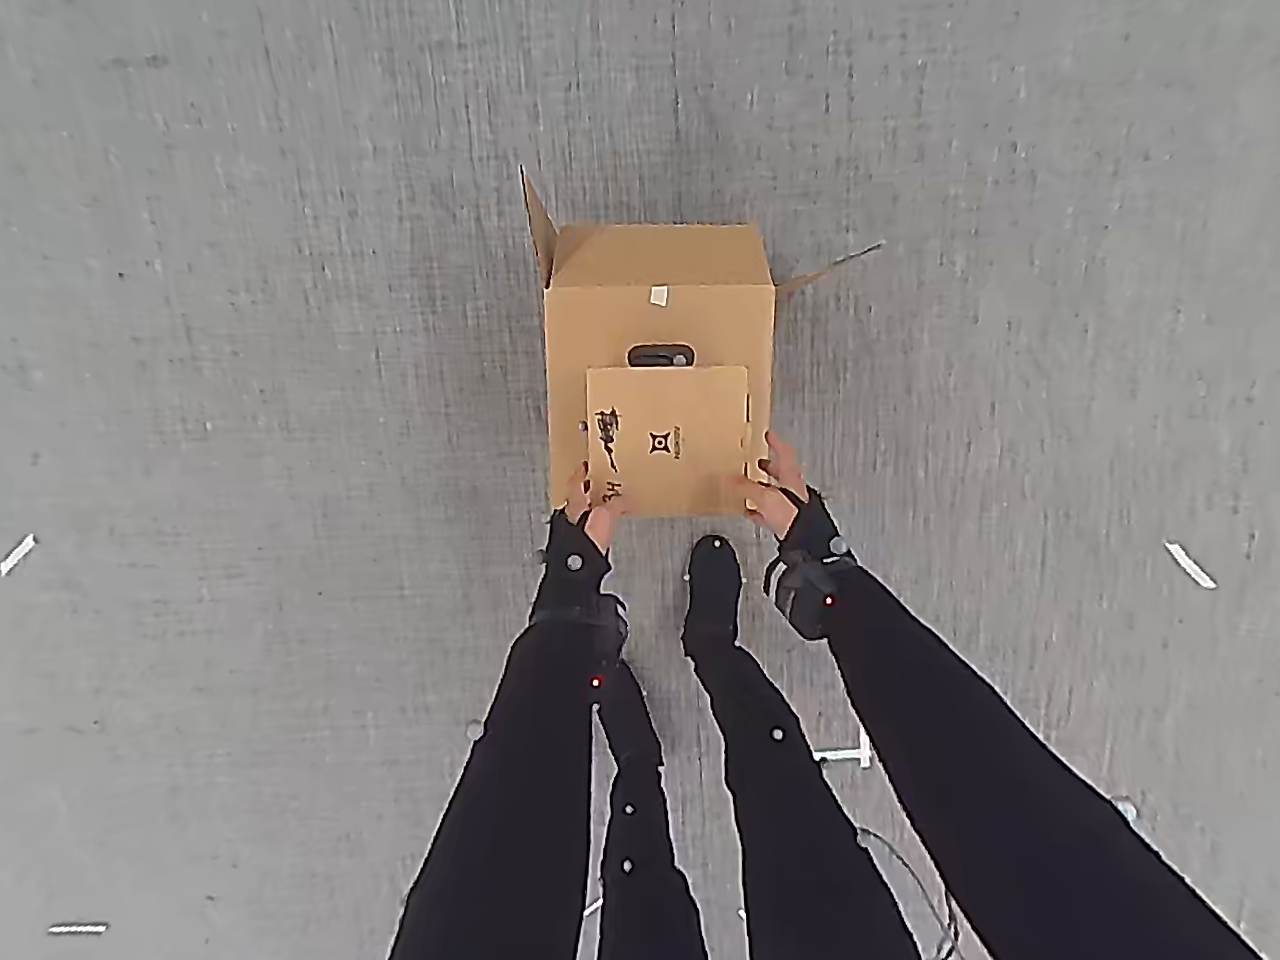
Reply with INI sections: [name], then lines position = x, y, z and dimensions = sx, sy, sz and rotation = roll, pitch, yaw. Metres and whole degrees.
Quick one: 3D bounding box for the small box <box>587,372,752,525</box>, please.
[small box]
position = 0.030, -0.047, 0.658
dimensions = 0.179, 0.176, 0.168
rotation = 0, 101, 0
